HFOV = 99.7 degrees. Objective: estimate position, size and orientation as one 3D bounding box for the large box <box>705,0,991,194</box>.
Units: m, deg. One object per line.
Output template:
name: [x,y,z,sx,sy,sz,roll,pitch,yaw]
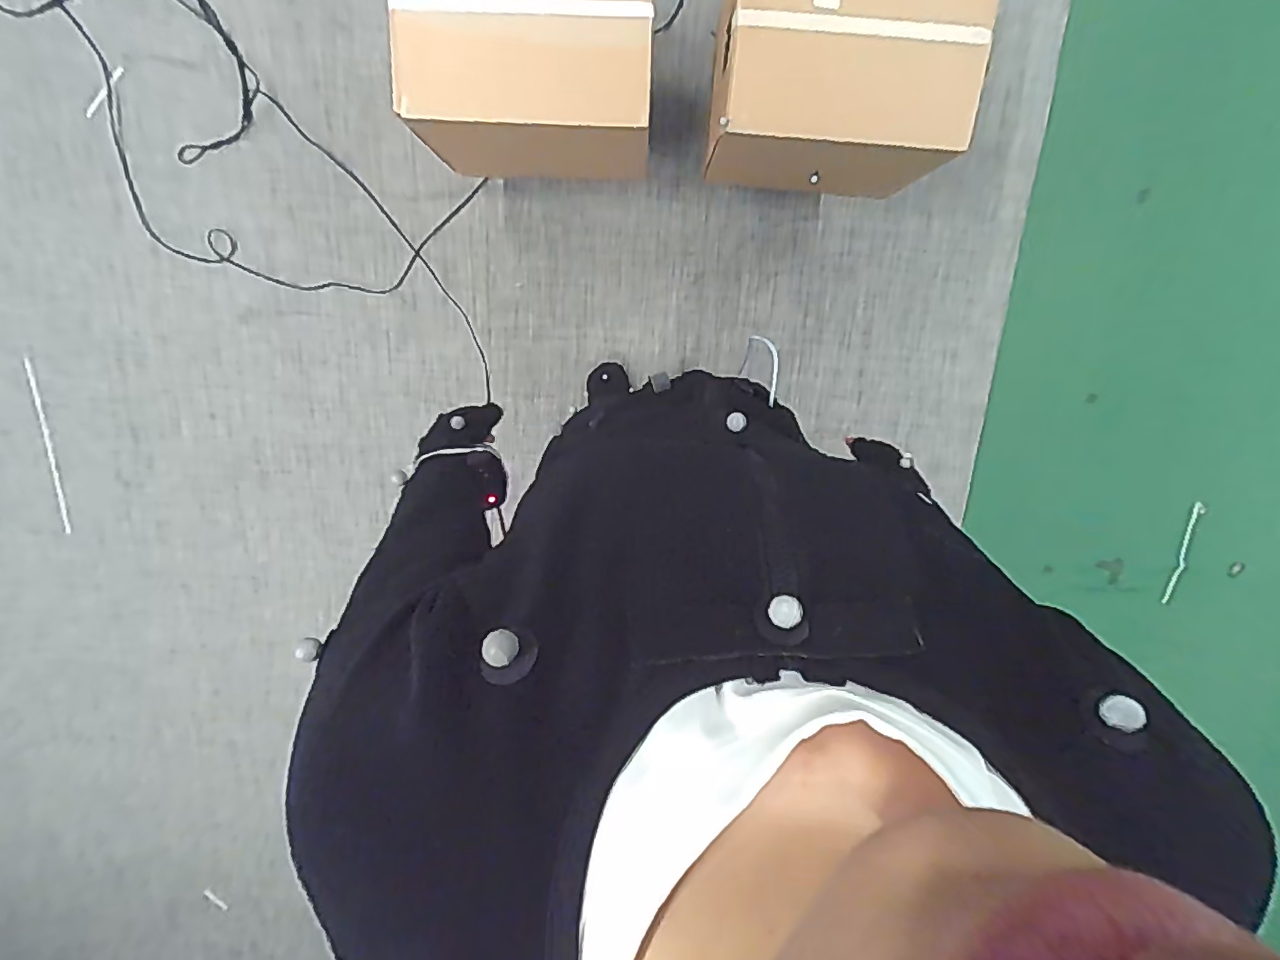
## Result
large box: [0.351,-0.745,1.005,0.408,0.320,0.320,4,104,-1]
